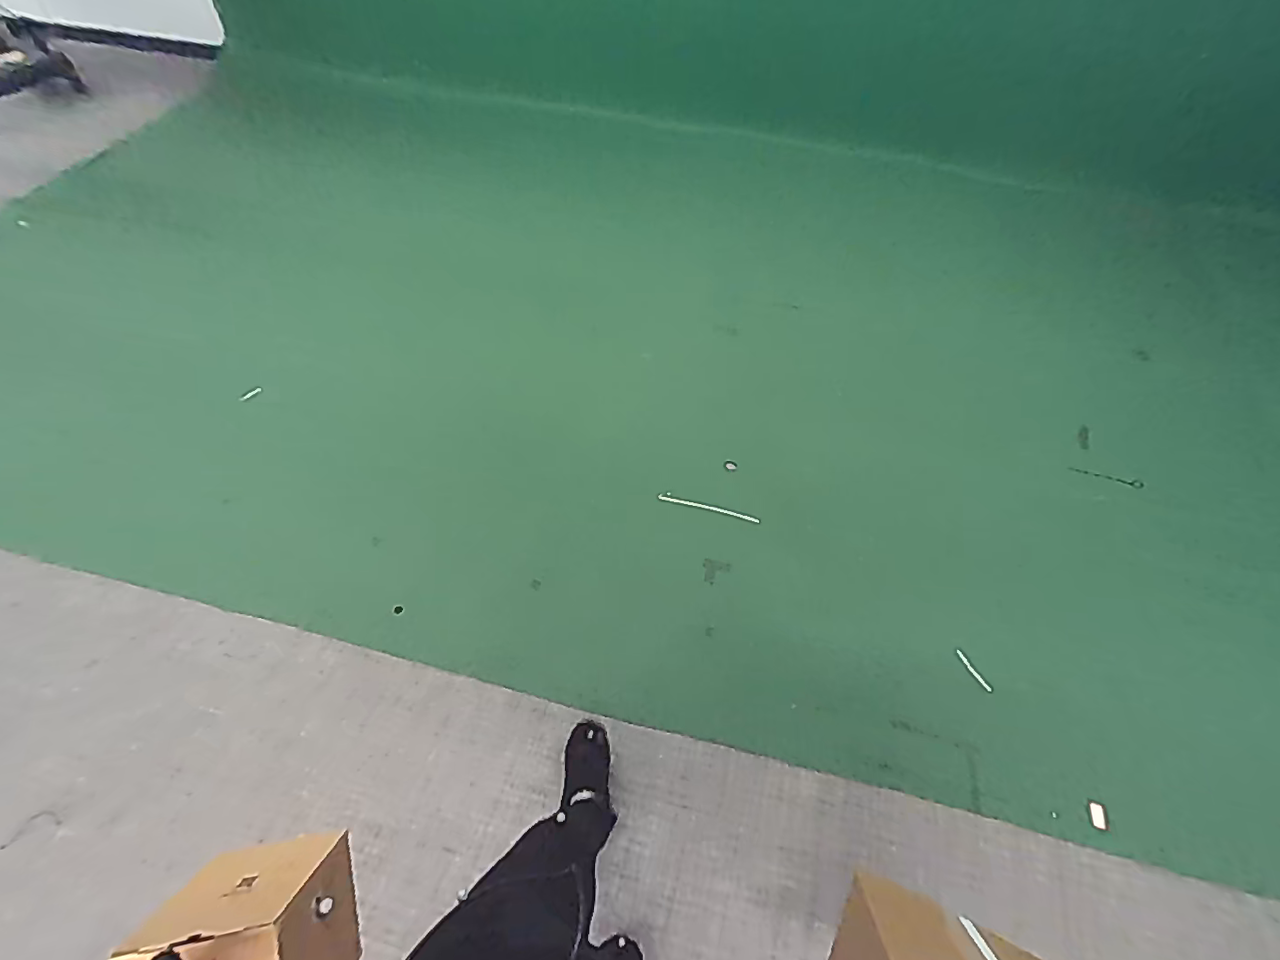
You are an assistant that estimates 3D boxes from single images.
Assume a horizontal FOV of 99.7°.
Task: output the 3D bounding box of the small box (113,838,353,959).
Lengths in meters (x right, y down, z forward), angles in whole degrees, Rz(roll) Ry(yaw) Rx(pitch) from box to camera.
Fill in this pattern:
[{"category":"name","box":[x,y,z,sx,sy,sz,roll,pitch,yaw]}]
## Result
[{"category":"small box","box":[-0.459,0.570,0.637,0.168,0.179,0.176,-8,86,-6]}]
